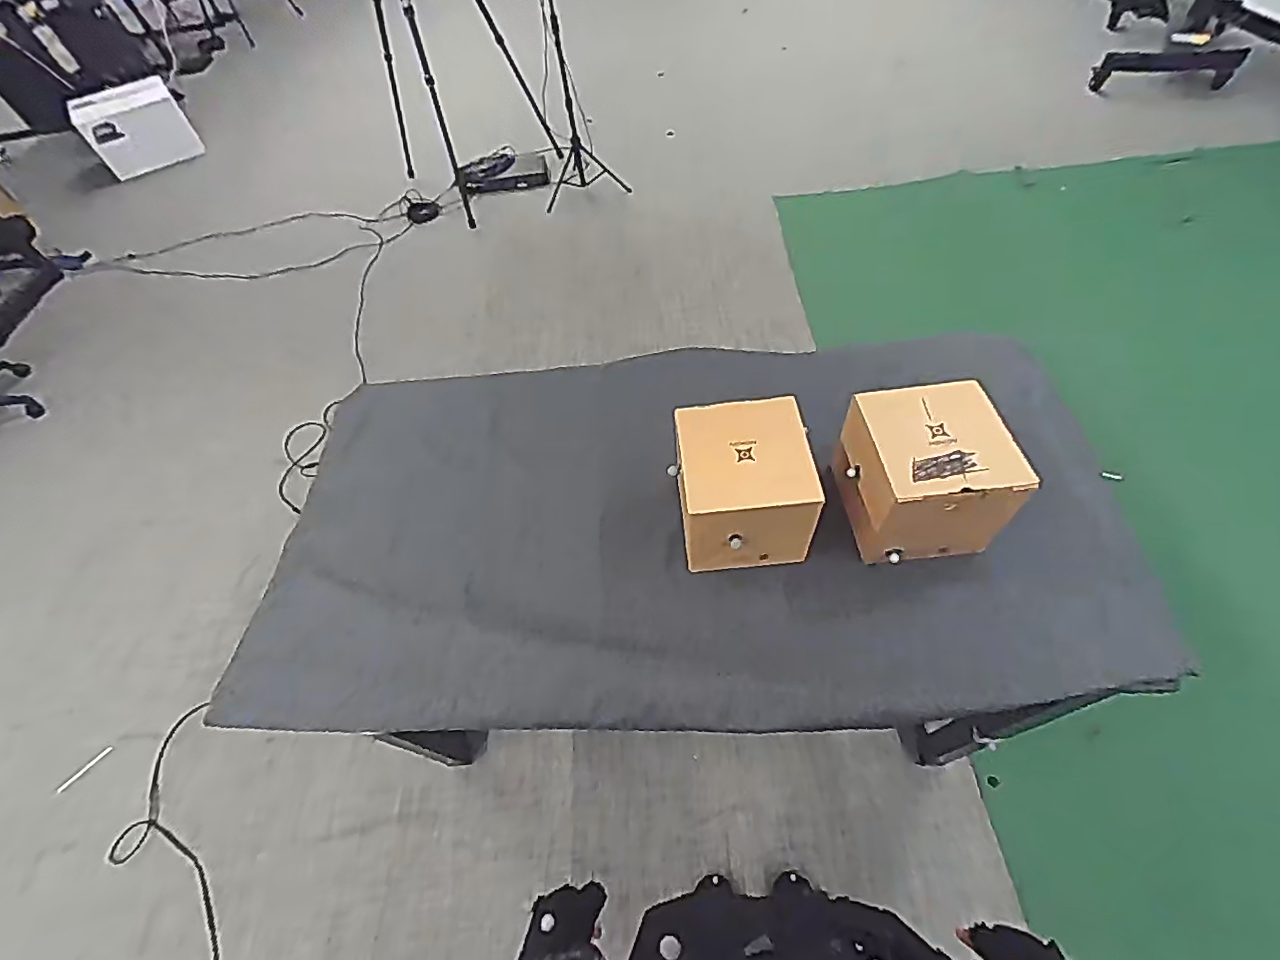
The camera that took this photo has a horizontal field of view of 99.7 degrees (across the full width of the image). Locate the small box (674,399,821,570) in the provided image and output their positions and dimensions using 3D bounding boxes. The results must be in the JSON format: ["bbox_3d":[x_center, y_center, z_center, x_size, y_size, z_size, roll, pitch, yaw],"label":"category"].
[{"bbox_3d":[0.140,0.015,0.752,0.168,0.176,0.179,-6,53,3],"label":"small box"}]

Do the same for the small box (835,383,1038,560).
[{"bbox_3d":[0.379,-0.003,0.732,0.168,0.176,0.179,-6,53,3],"label":"small box"}]
